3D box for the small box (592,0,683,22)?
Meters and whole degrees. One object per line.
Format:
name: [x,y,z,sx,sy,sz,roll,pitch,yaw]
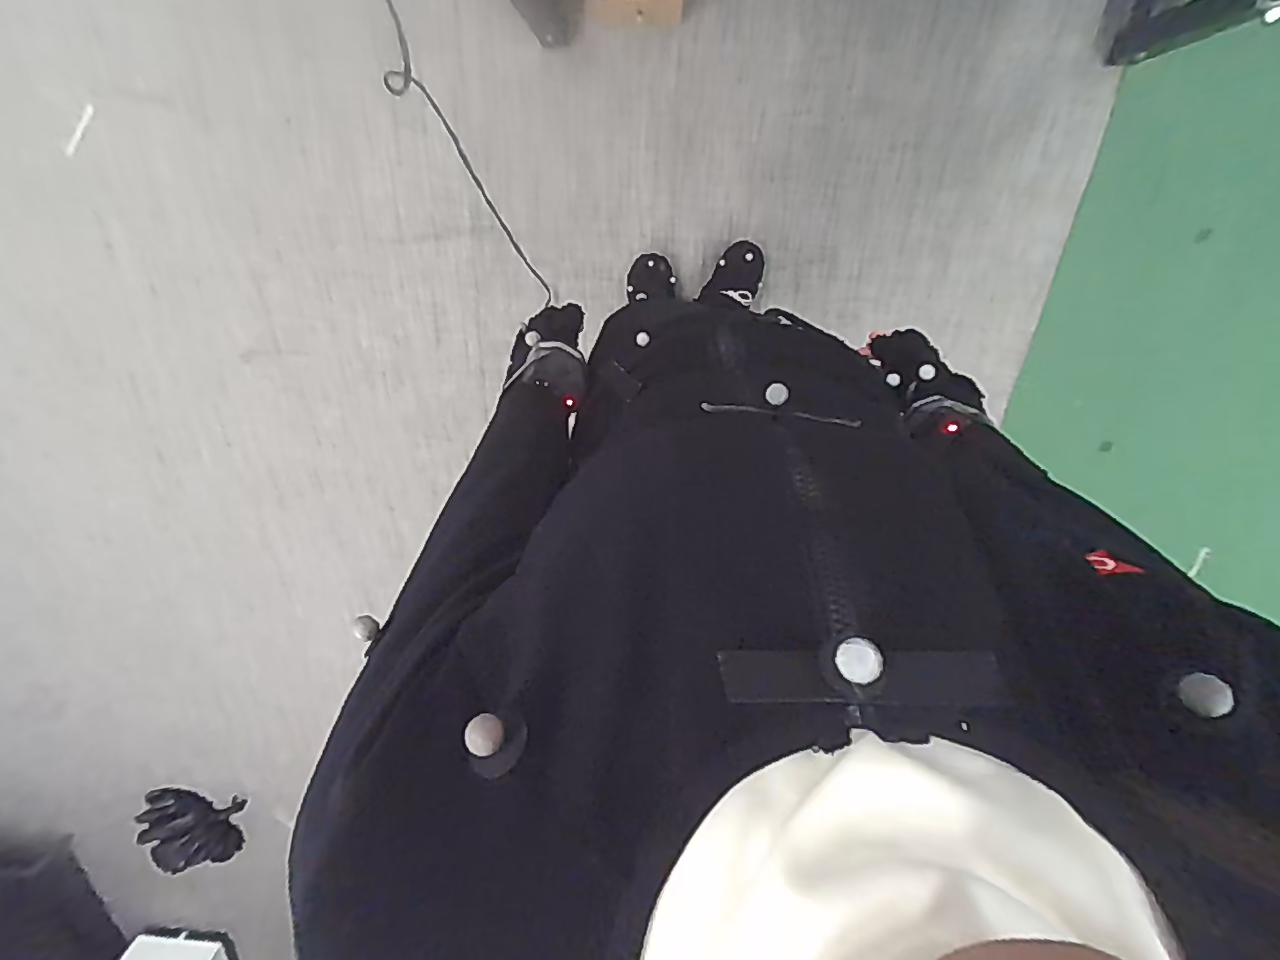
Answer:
small box: [-0.002,-0.960,0.978,0.168,0.176,0.179,1,115,3]
